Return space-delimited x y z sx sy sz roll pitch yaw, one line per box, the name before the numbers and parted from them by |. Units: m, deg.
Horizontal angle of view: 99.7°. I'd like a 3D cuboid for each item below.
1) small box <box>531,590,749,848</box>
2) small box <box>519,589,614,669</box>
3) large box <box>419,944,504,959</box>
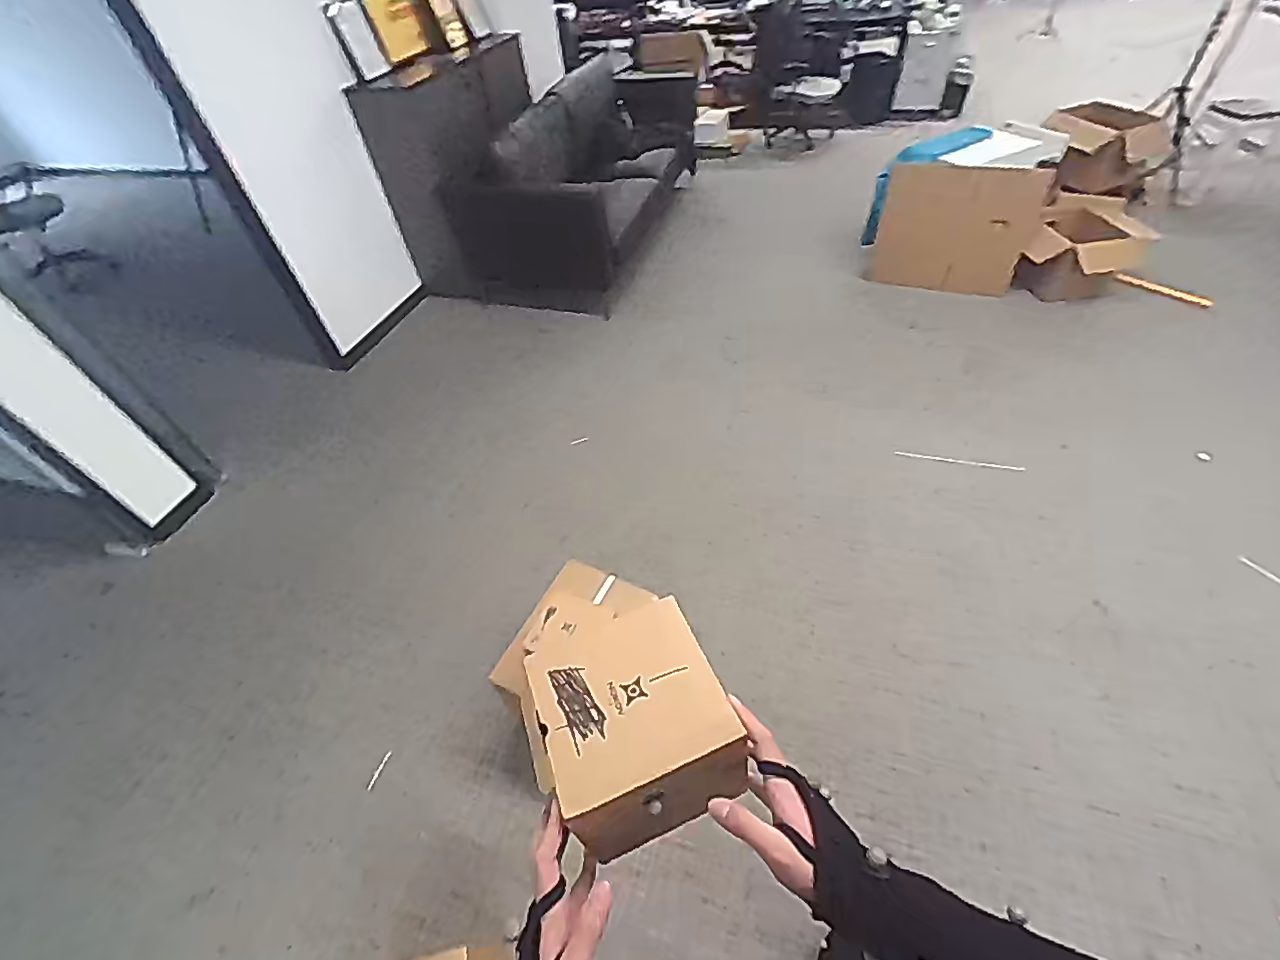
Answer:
small box | 0.004 0.257 0.579 0.179 0.176 0.168 -21 45 -10
small box | -0.167 0.404 1.336 0.179 0.176 0.168 16 51 18
large box | -0.419 1.167 1.002 0.320 0.320 0.408 -15 49 -6
